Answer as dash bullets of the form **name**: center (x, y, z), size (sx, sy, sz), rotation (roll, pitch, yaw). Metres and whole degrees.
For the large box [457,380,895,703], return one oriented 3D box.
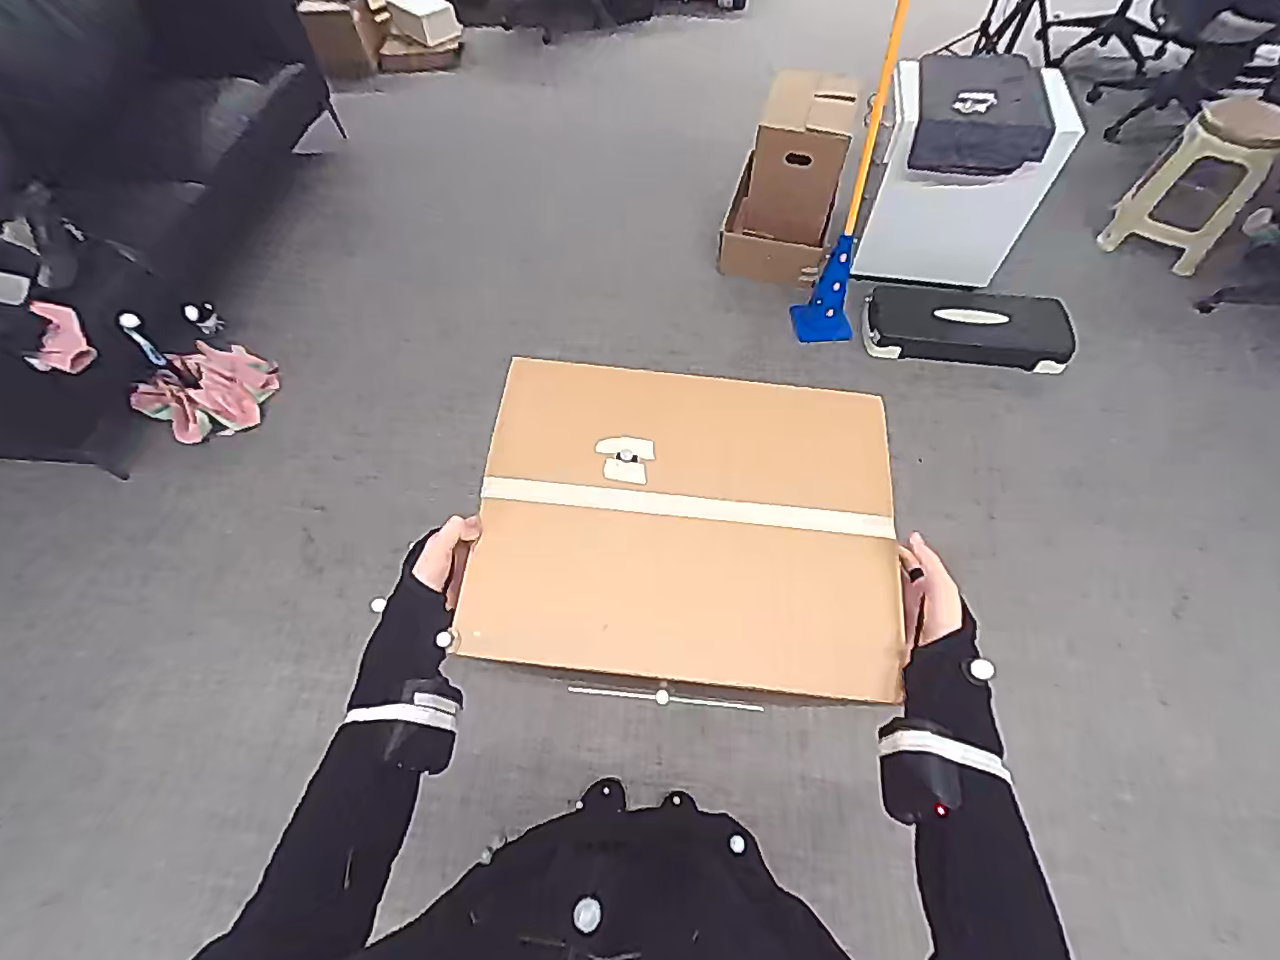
- **large box**: center (0.042, 0.100, 0.679), size (0.408, 0.320, 0.320), rotation (5, 65, 1)
